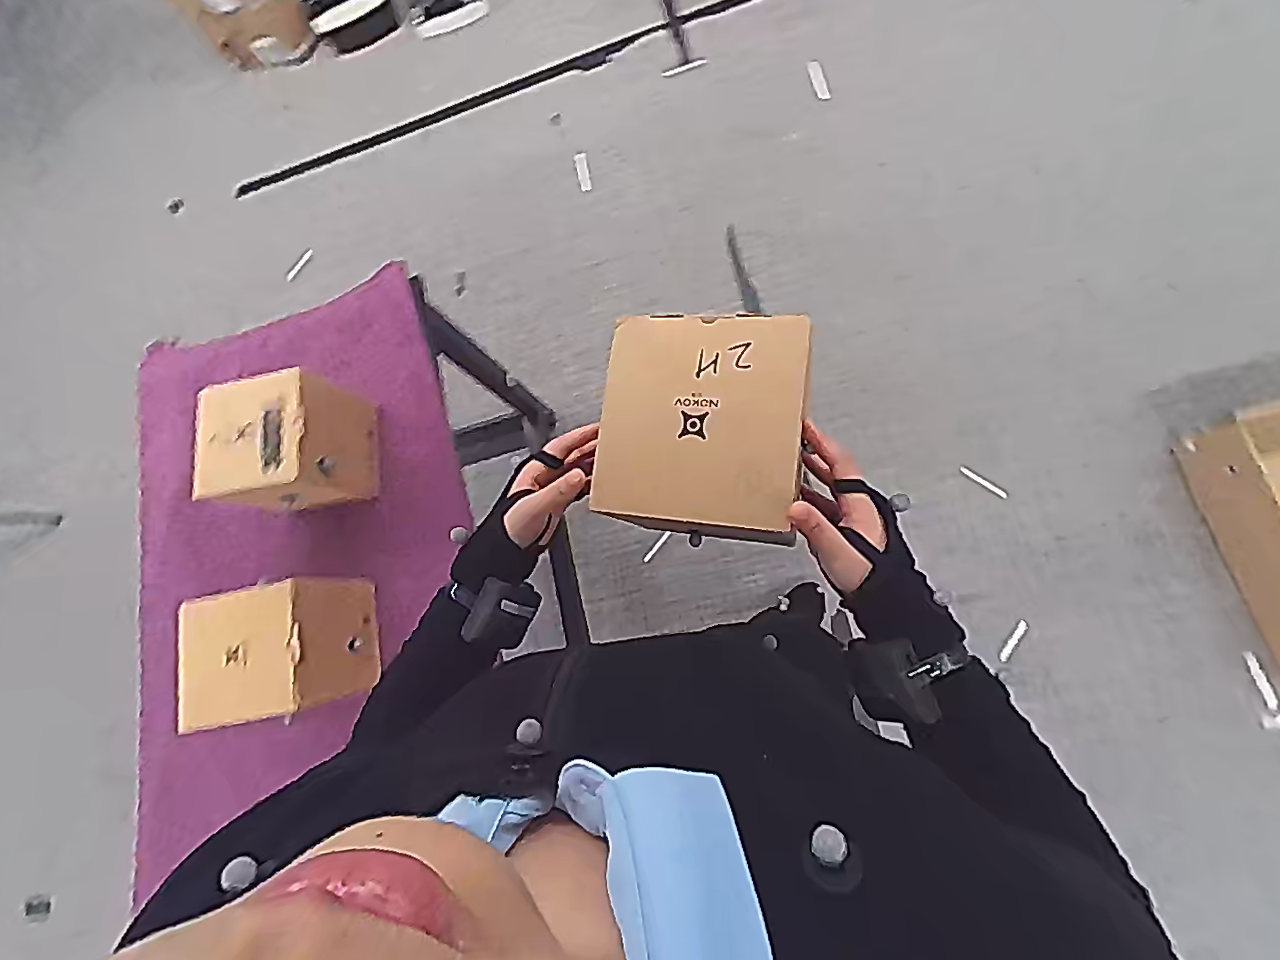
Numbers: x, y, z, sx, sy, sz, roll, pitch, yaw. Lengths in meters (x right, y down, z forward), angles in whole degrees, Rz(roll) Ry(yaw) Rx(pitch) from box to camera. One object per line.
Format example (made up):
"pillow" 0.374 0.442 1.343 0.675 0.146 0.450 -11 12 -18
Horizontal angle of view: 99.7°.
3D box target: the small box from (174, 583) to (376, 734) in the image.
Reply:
"small box" -0.513 0.247 0.777 0.179 0.176 0.168 -13 77 7
